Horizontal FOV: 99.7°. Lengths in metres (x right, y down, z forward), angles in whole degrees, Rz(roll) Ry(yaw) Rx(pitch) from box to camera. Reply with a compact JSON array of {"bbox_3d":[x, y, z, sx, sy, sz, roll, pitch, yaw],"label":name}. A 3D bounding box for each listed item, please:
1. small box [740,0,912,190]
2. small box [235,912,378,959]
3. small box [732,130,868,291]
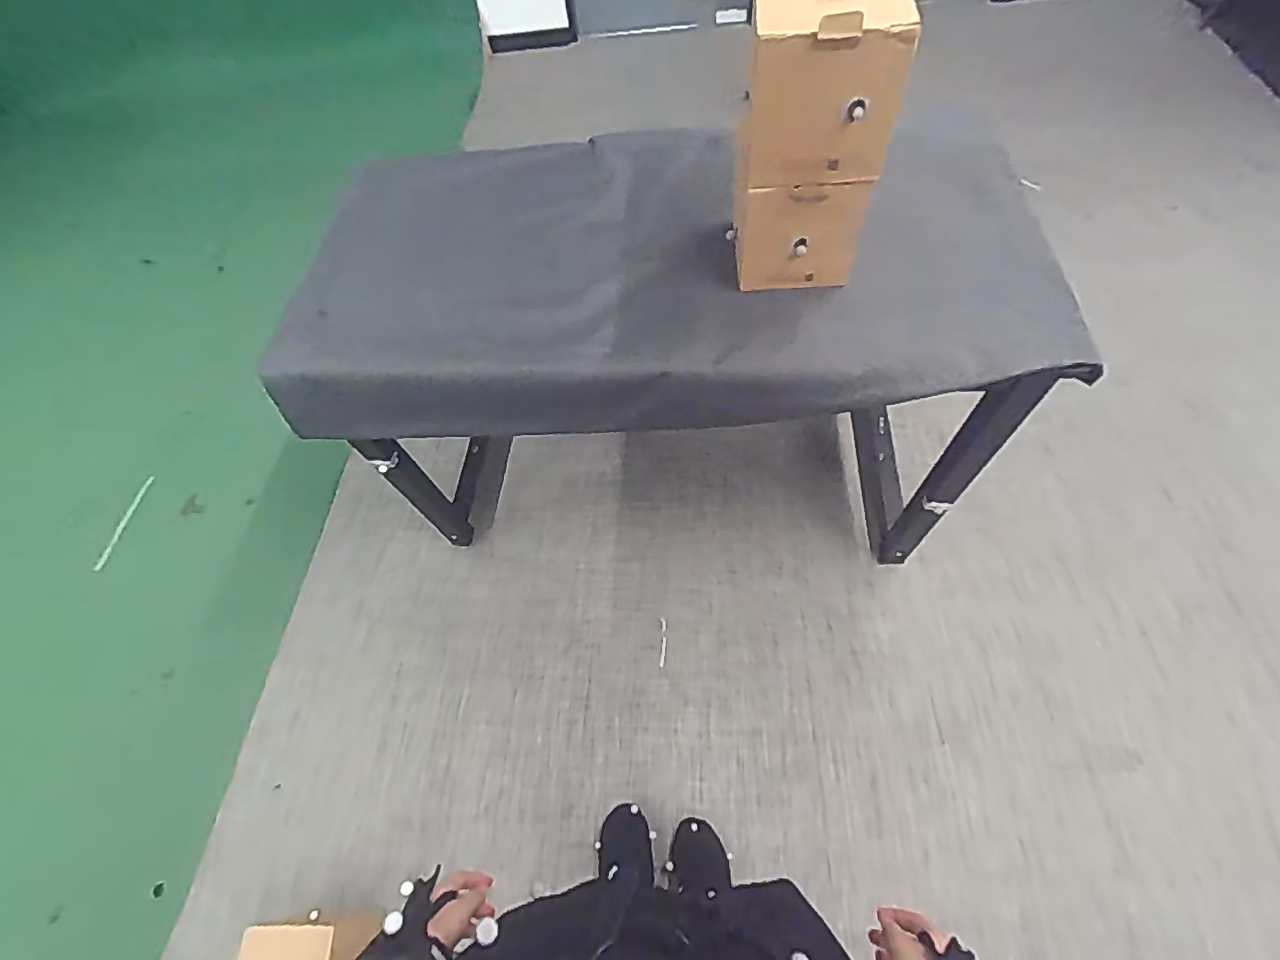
[{"bbox_3d":[0.216,-0.486,0.676,0.168,0.176,0.179,2,59,7],"label":"small box"},{"bbox_3d":[-0.614,0.906,0.988,0.179,0.176,0.168,-4,58,5],"label":"small box"},{"bbox_3d":[0.228,-0.403,0.816,0.168,0.176,0.179,-1,60,6],"label":"small box"}]
